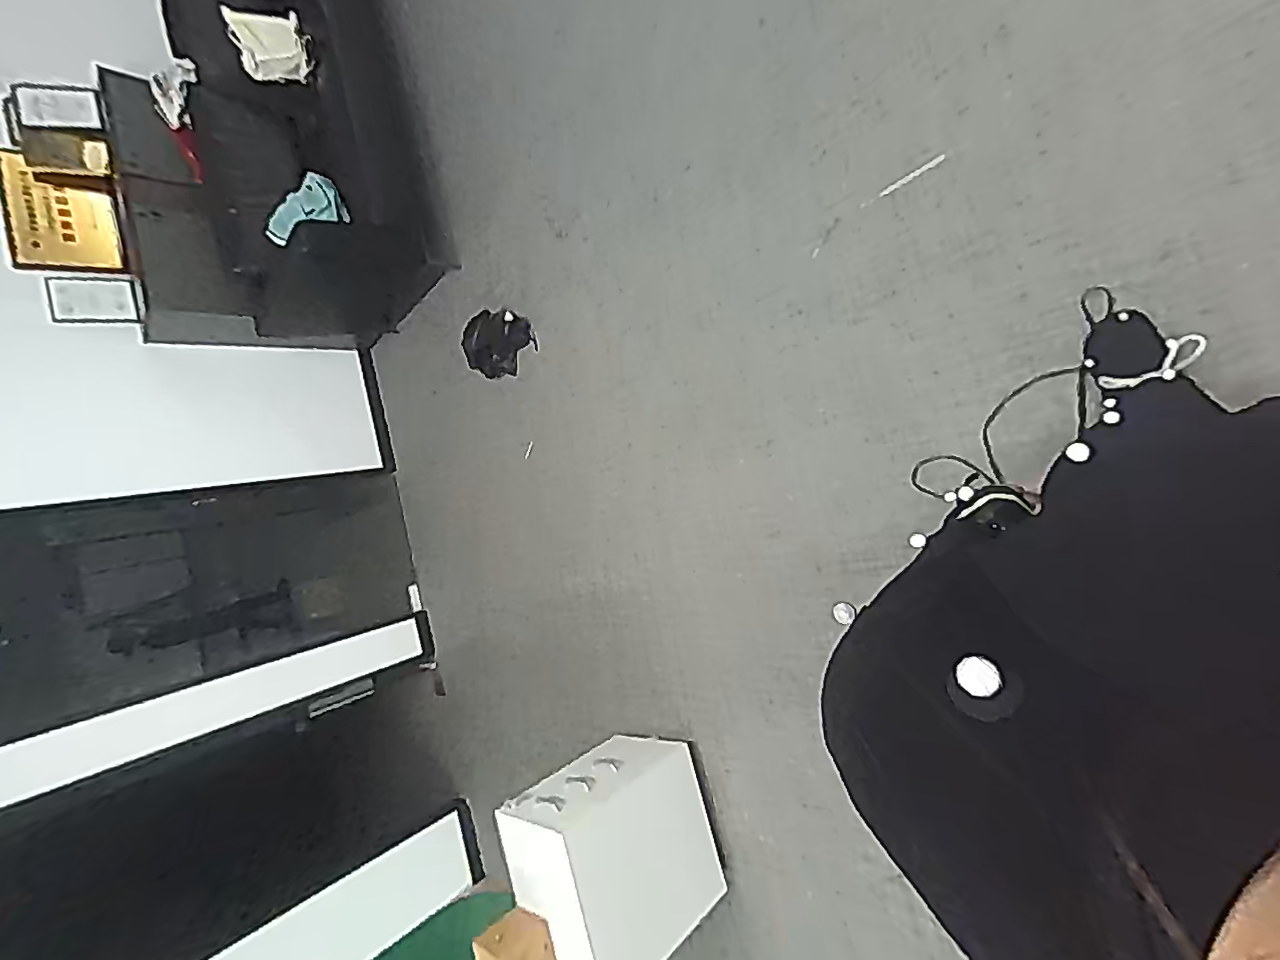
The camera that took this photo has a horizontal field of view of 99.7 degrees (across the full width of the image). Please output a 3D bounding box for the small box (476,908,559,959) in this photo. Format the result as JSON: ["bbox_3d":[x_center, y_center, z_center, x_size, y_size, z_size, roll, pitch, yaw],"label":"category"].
[{"bbox_3d":[-0.364,1.438,1.624,0.179,0.176,0.168,-22,80,43],"label":"small box"}]
